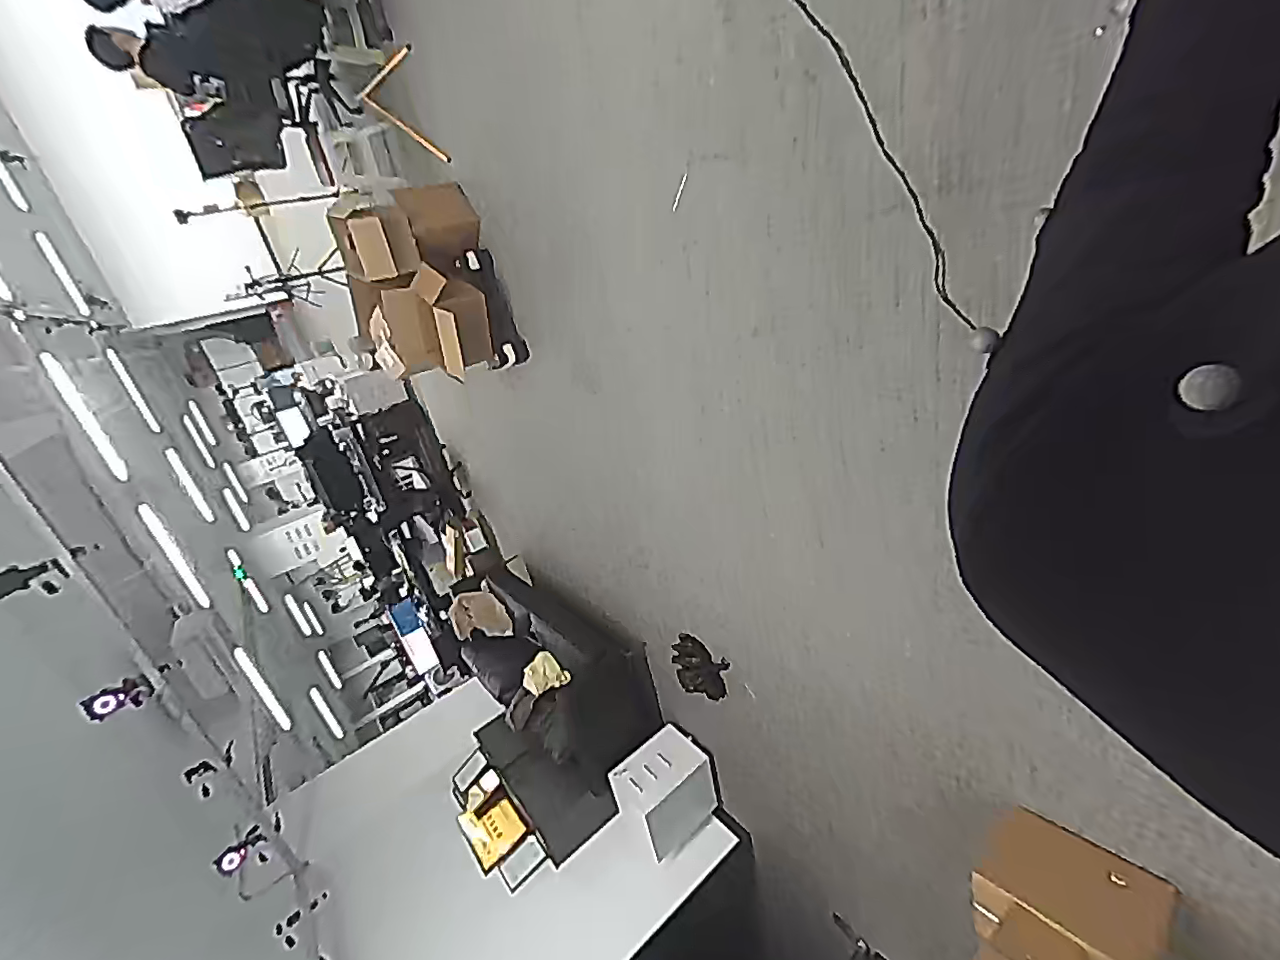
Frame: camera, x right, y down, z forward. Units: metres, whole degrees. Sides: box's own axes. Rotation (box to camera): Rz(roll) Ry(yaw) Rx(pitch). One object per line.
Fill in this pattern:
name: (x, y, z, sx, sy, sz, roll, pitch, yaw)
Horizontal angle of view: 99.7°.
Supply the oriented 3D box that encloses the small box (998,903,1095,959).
small box: (1.124, 1.340, 1.496, 0.179, 0.176, 0.168, 15, 124, 53)
